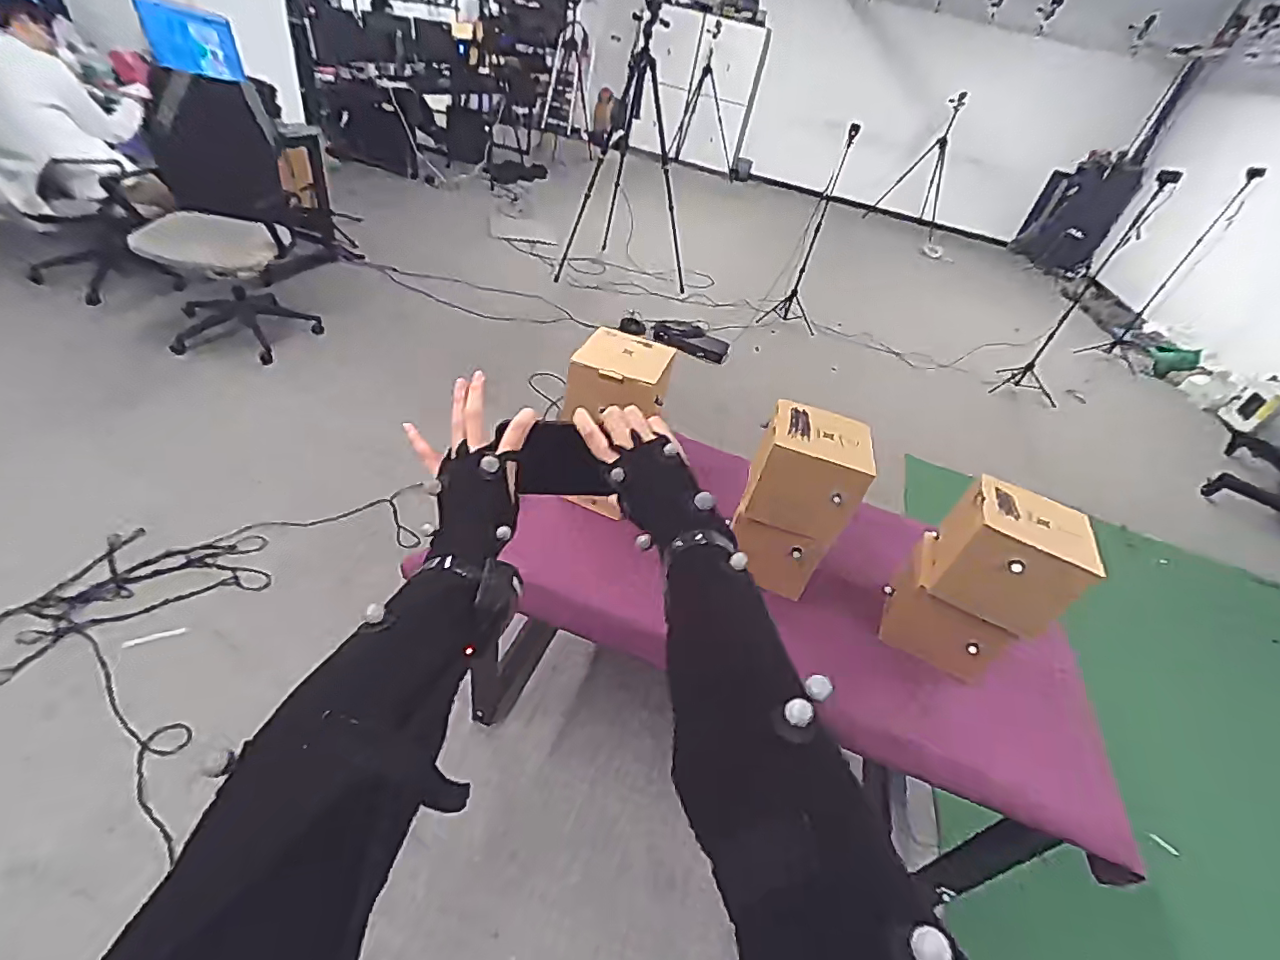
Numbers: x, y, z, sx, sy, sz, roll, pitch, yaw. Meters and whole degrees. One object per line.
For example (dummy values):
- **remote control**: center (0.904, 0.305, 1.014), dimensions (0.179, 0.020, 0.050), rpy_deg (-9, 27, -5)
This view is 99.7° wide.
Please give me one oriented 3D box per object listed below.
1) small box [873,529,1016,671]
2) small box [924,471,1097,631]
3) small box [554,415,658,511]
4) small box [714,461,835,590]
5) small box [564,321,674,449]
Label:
- **small box**: center (0.575, 0.231, 1.027), dimensions (0.179, 0.176, 0.168), rpy_deg (26, 41, 15)
- **small box**: center (0.607, 0.121, 0.910), dimensions (0.179, 0.176, 0.168), rpy_deg (27, 41, 14)
- **small box**: center (-0.078, -0.061, 1.181), dimensions (0.168, 0.176, 0.179), rpy_deg (23, 40, 11)
- **small box**: center (0.270, 0.096, 1.096), dimensions (0.179, 0.176, 0.168), rpy_deg (22, 40, 10)
- **small box**: center (-0.045, -0.188, 1.083), dimensions (0.168, 0.176, 0.179), rpy_deg (20, 41, 6)
